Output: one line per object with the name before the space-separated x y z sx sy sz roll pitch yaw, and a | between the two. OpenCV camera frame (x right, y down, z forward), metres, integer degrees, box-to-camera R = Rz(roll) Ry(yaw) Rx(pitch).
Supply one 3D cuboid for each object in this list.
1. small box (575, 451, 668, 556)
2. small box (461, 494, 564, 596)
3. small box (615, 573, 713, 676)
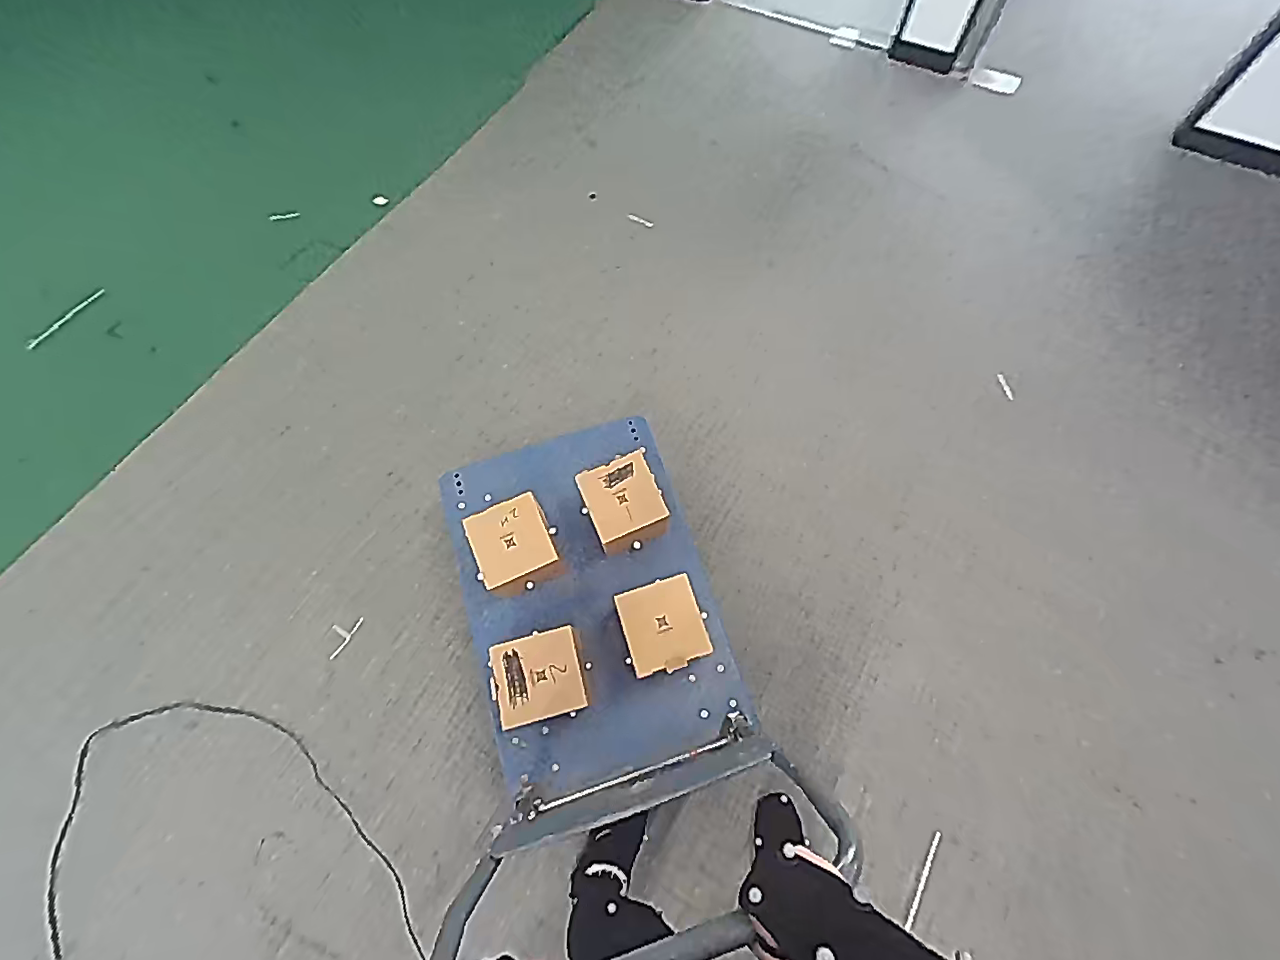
small box | -0.045 0.062 1.297 0.168 0.176 0.179 -23 73 -7
small box | -0.290 0.160 1.264 0.168 0.176 0.179 -23 72 -8
small box | 0.047 0.326 1.207 0.168 0.176 0.179 -18 73 -5
